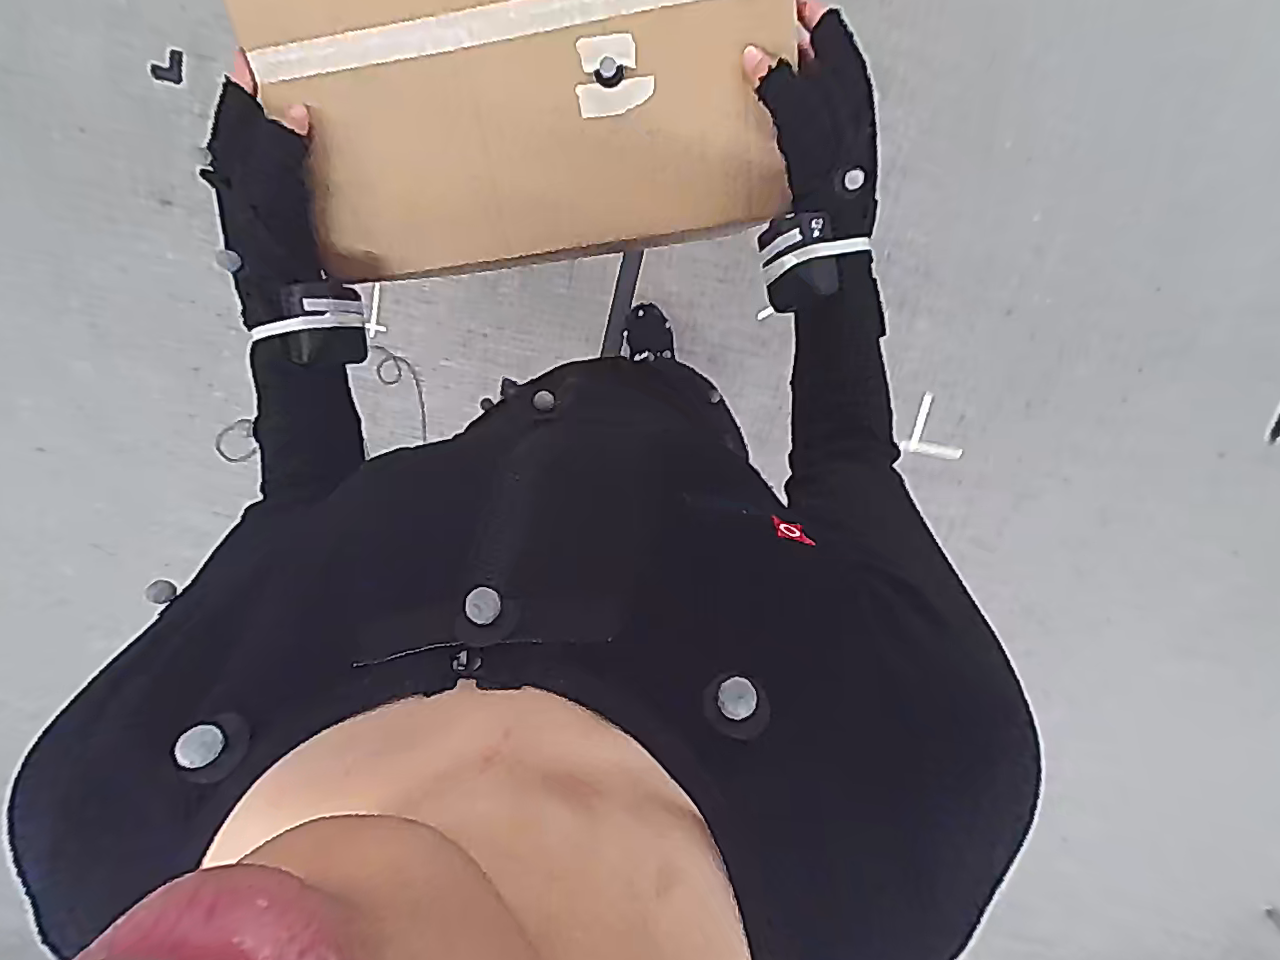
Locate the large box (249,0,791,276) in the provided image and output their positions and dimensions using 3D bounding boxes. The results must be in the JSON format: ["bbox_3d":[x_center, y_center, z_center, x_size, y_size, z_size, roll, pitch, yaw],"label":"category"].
[{"bbox_3d":[-0.093,-0.403,0.548,0.408,0.320,0.320,-8,111,4],"label":"large box"}]
